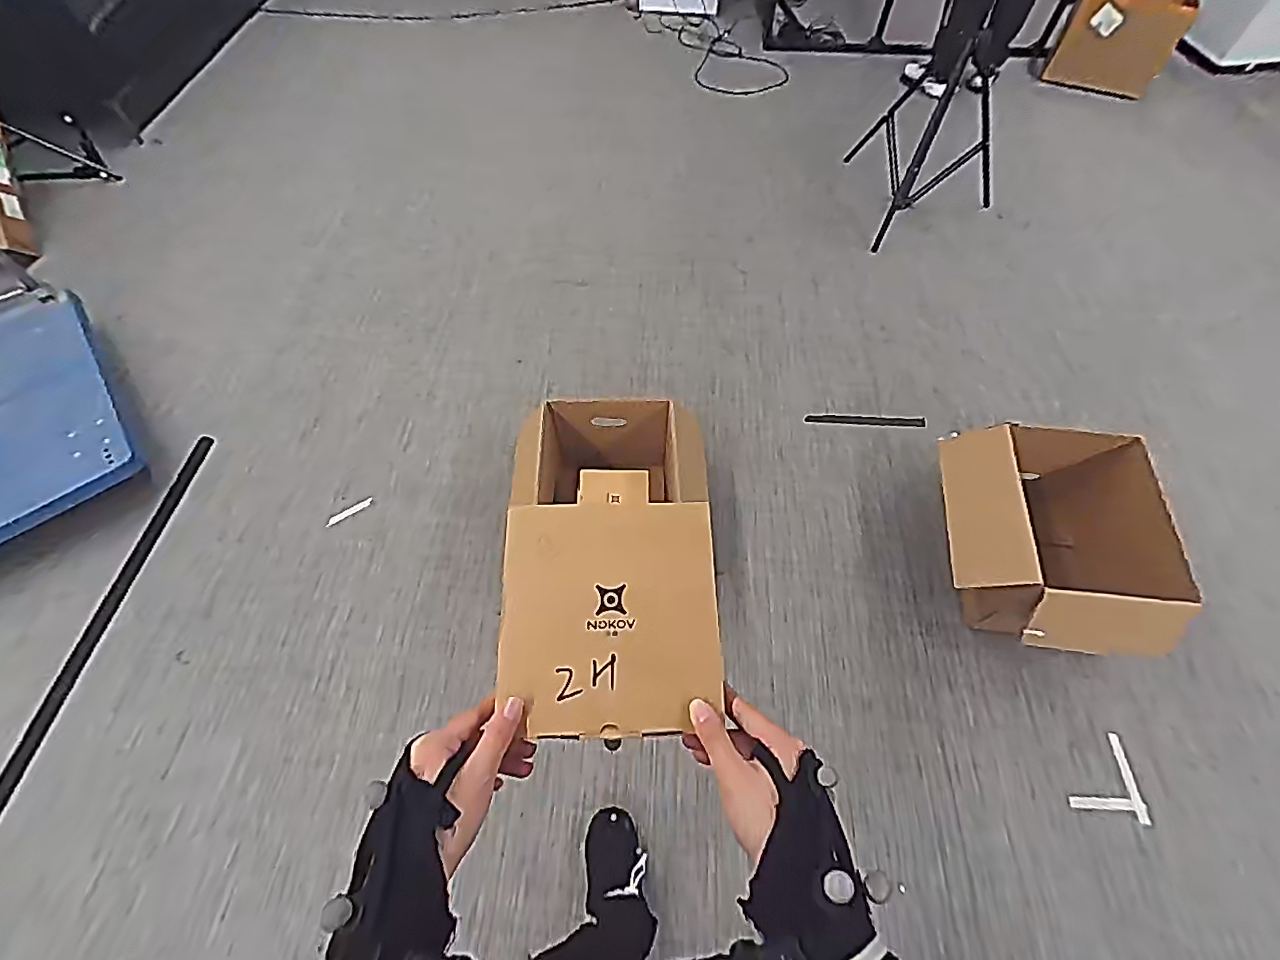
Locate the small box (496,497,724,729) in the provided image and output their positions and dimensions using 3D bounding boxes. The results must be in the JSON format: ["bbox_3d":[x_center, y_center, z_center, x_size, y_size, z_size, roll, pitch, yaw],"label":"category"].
[{"bbox_3d":[-0.024,0.126,0.489,0.168,0.176,0.179,-1,68,-1],"label":"small box"}]
